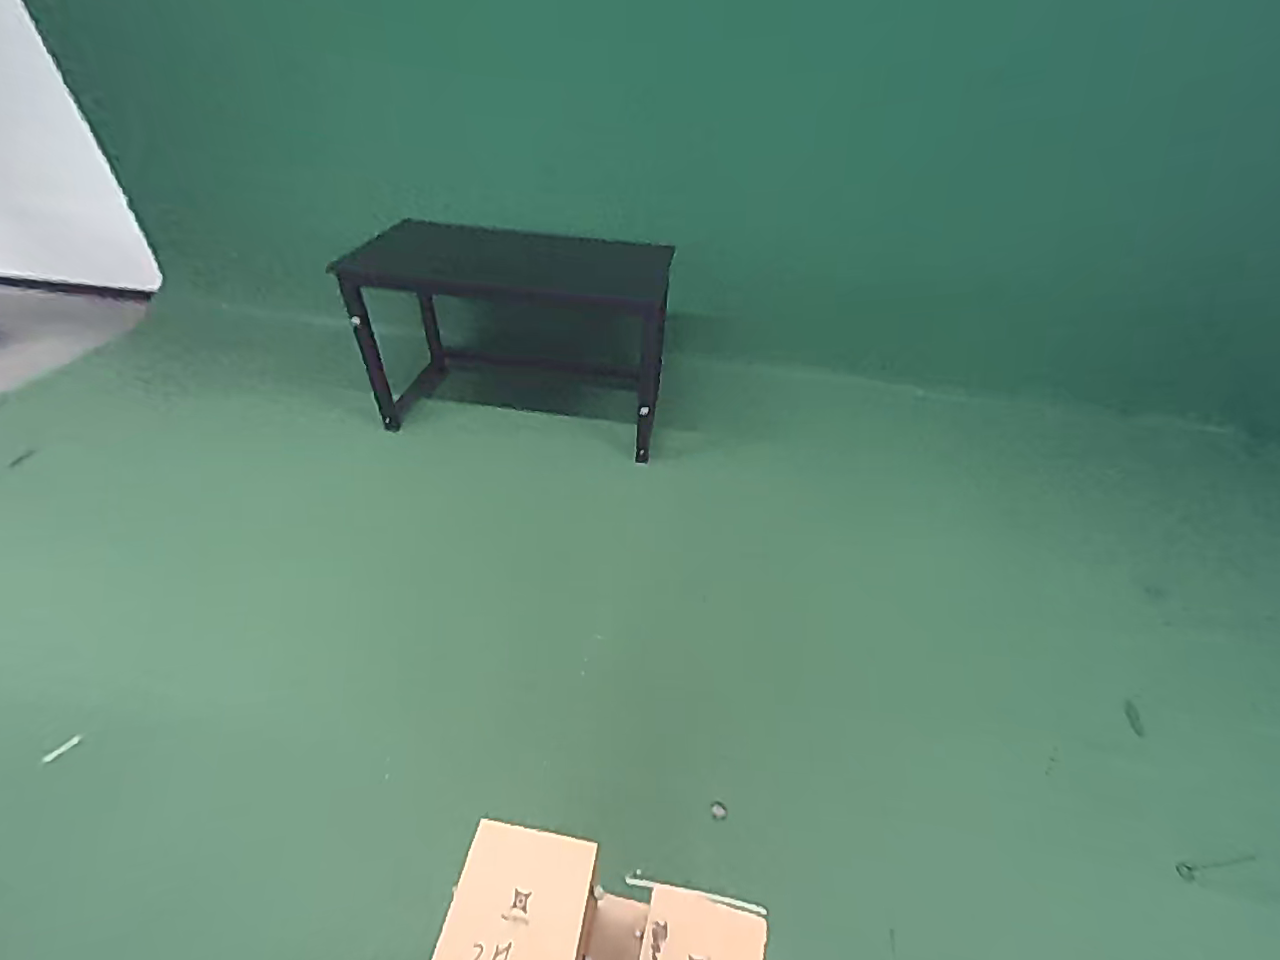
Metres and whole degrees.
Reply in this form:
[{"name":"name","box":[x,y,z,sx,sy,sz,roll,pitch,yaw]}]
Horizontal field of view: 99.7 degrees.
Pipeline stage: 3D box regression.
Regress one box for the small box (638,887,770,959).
[{"name":"small box","box":[0.080,0.741,0.791,0.179,0.176,0.168,12,40,11]}]

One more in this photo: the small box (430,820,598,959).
[{"name":"small box","box":[-0.155,0.586,0.708,0.168,0.176,0.179,8,40,6]}]
